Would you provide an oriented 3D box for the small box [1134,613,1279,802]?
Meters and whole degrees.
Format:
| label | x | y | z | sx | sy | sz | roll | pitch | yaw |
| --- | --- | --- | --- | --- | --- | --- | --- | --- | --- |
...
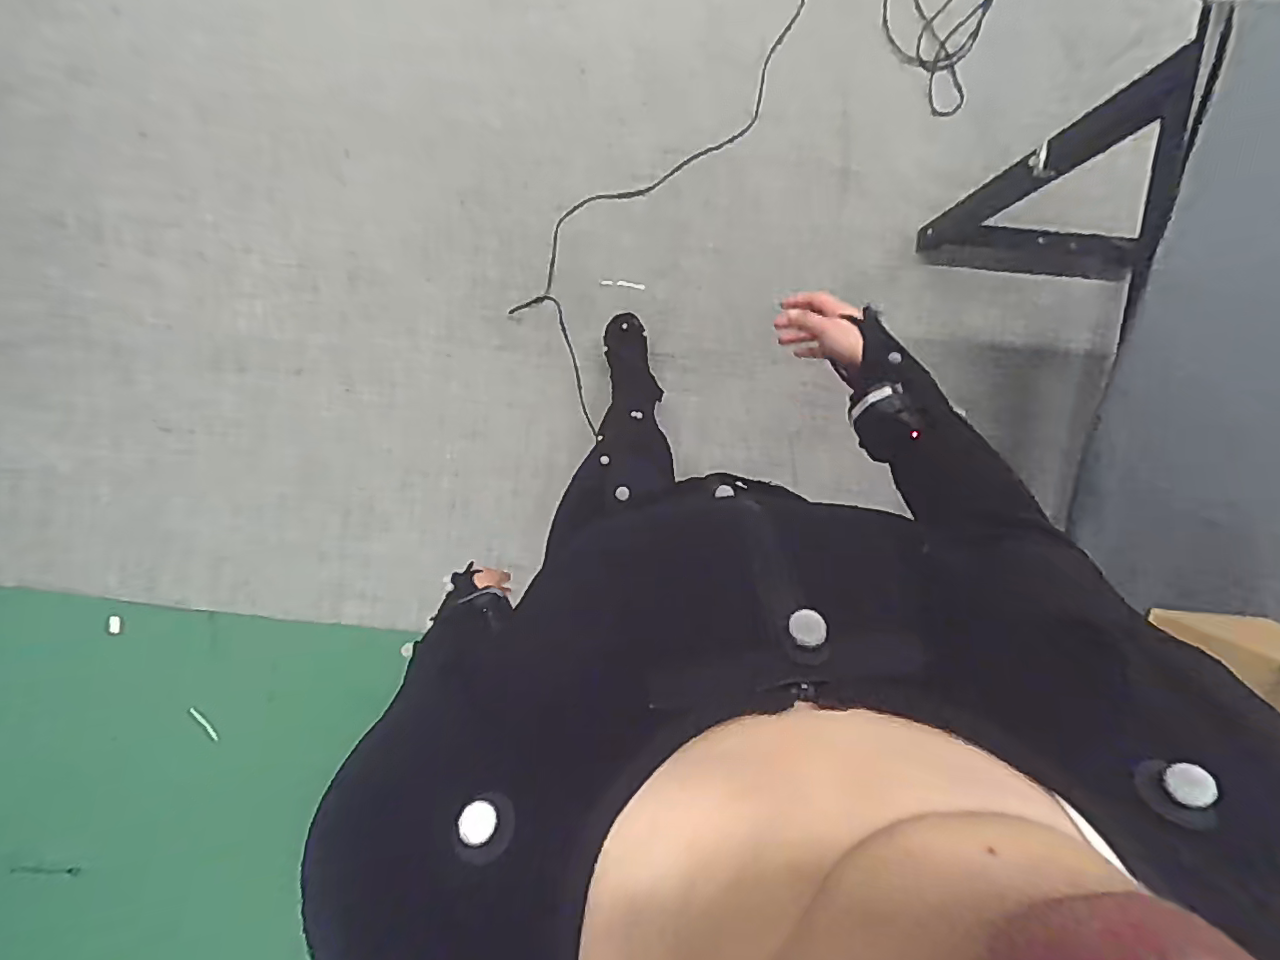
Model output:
| label | x | y | z | sx | sy | sz | roll | pitch | yaw |
| --- | --- | --- | --- | --- | --- | --- | --- | --- | --- |
| small box | 0.777 | 0.274 | 0.670 | 0.179 | 0.176 | 0.168 | 5 | 96 | -2 |
